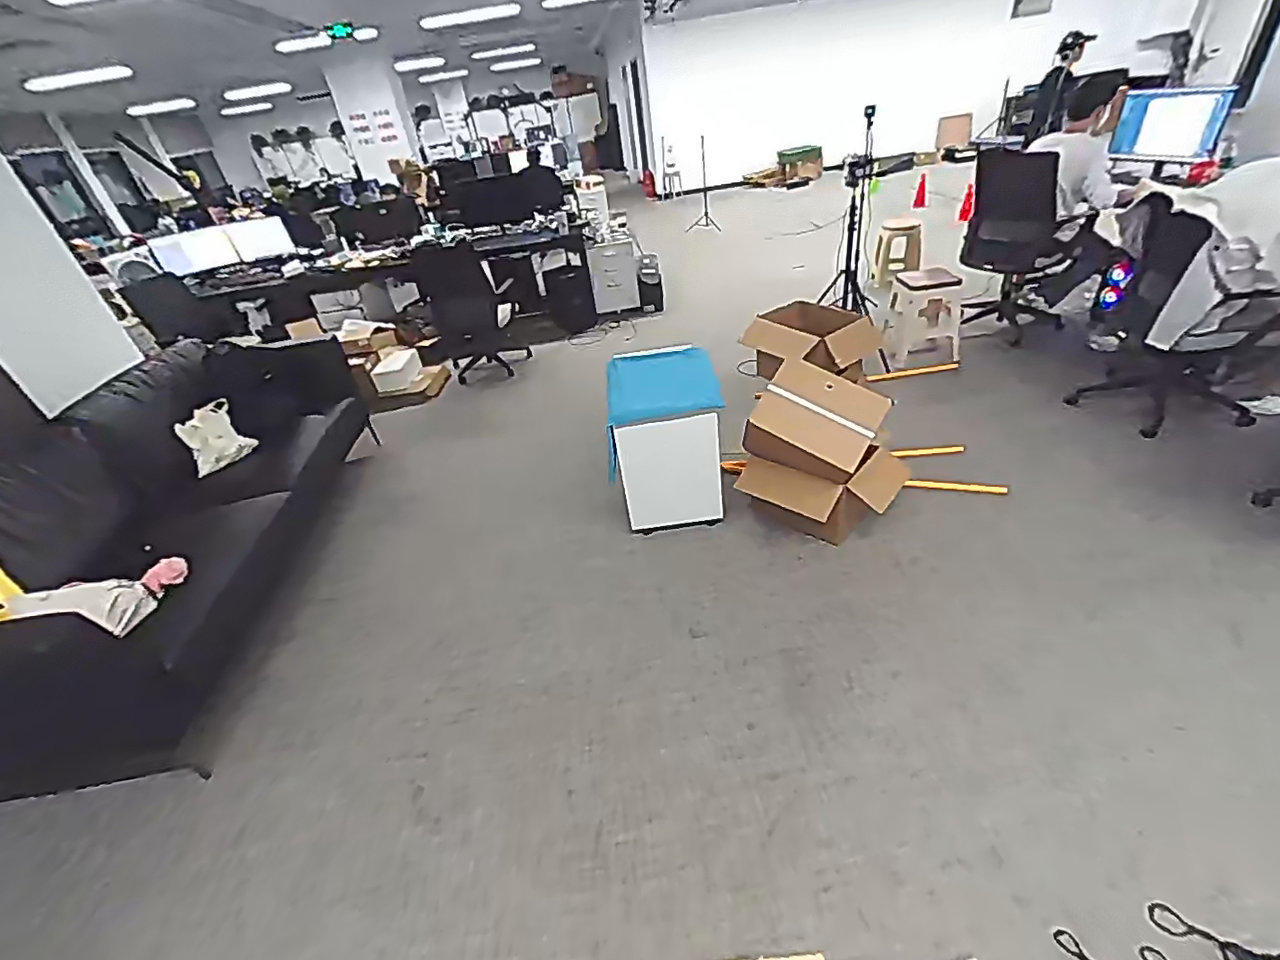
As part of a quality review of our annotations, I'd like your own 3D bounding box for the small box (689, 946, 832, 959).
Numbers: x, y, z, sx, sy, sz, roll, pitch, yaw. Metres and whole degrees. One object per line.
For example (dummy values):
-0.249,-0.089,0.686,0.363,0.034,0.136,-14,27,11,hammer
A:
0.139,0.645,0.585,0.168,0.176,0.179,-4,38,-2,small box
